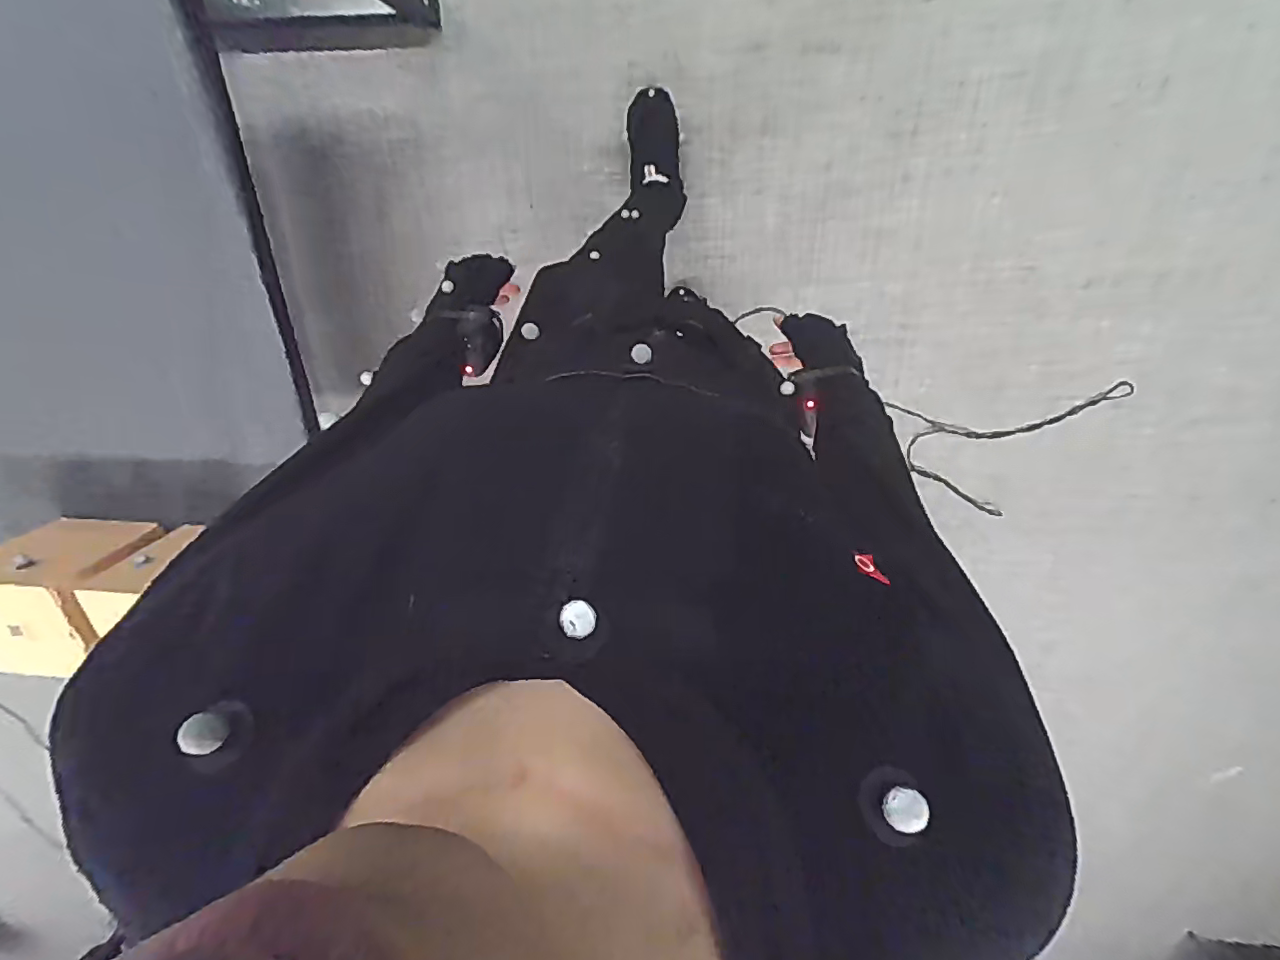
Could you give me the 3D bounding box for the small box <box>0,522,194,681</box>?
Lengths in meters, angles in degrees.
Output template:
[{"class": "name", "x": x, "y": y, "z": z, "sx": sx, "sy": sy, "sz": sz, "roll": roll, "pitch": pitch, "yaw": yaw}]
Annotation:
[{"class": "small box", "x": -0.842, "y": 0.175, "z": 0.817, "sx": 0.179, "sy": 0.176, "sz": 0.168, "roll": 3, "pitch": 116, "yaw": 4}]
